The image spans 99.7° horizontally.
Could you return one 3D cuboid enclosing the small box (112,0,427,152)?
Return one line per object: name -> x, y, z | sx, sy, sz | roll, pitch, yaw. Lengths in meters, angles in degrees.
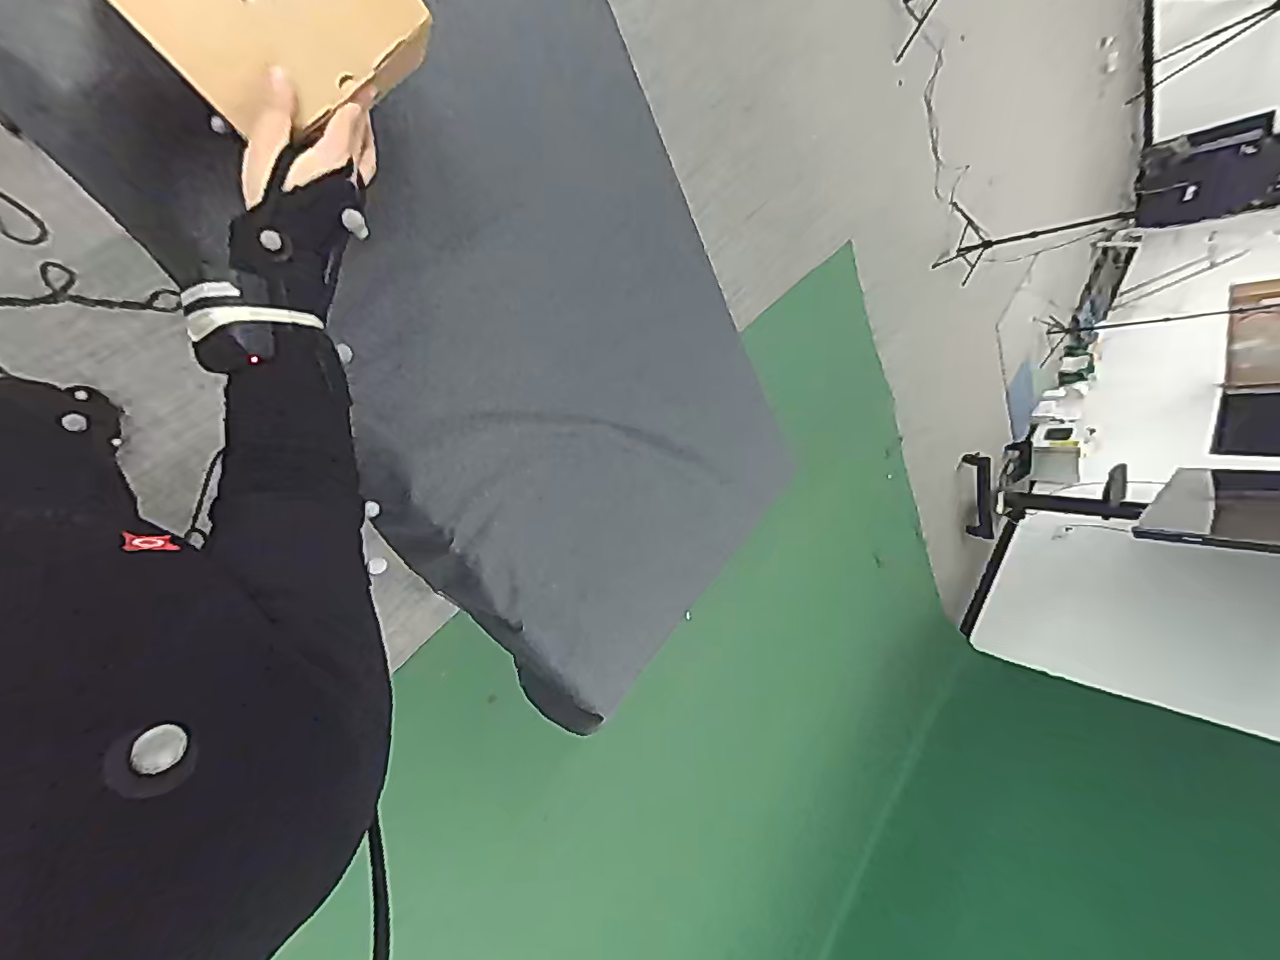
small box -> -0.293, -0.380, 0.412 | 0.168, 0.176, 0.179 | -42, 127, 2
